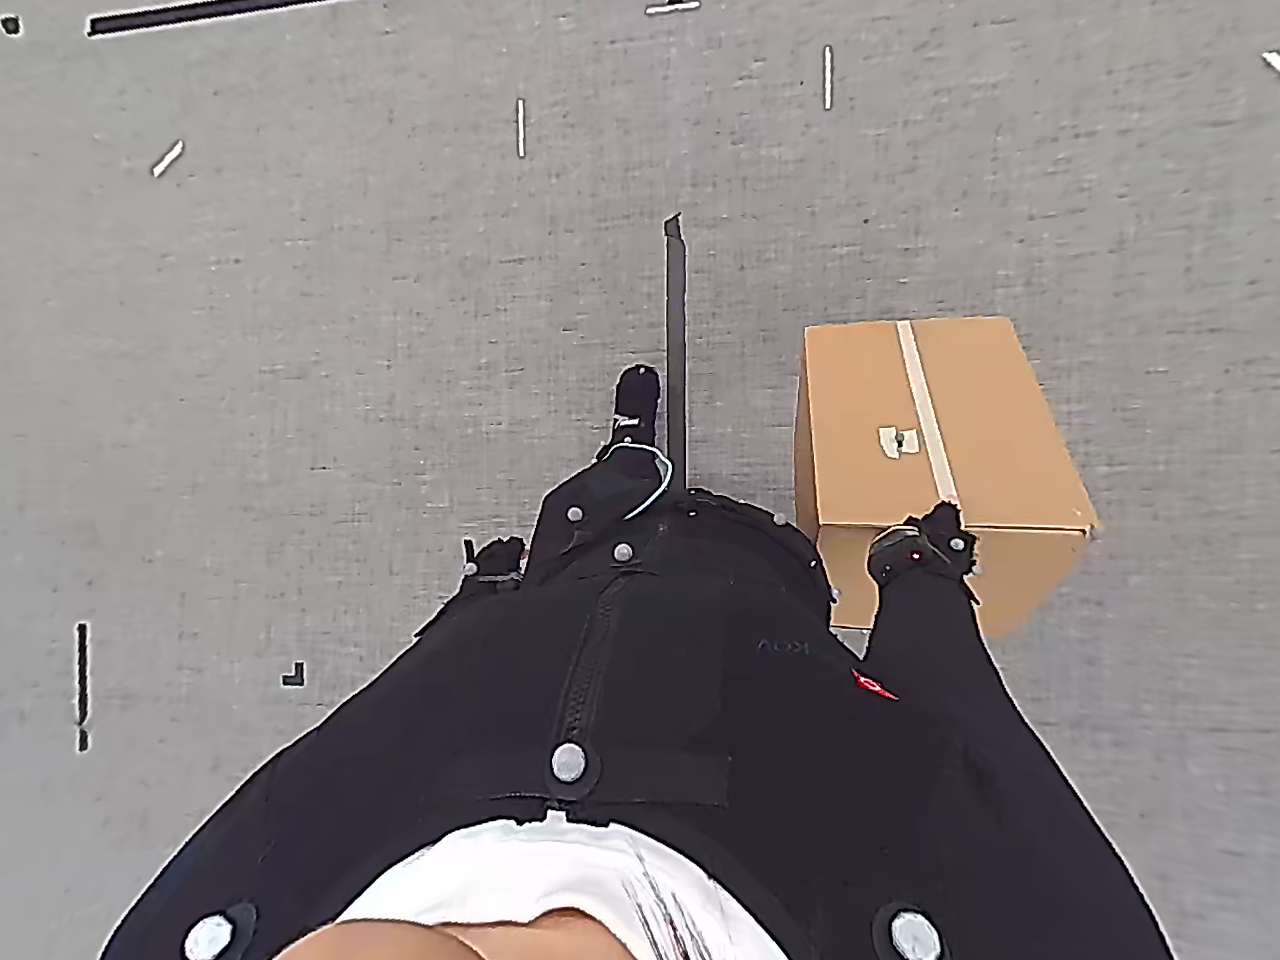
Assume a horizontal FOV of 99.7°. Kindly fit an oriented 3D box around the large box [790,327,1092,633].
[{"bbox_3d":[0.427,-0.001,0.897,0.320,0.320,0.408,0,53,12],"label":"large box"}]
